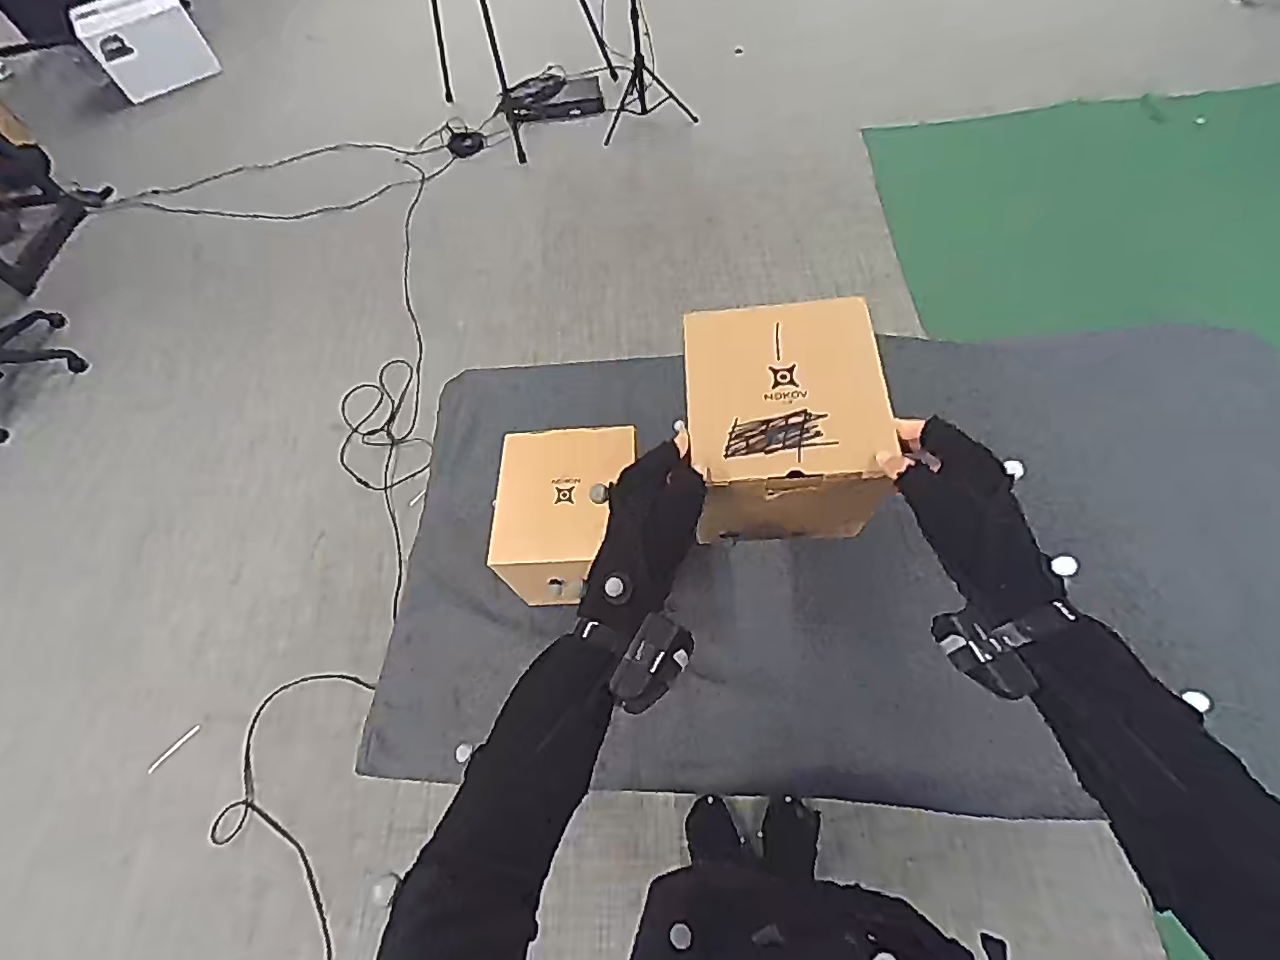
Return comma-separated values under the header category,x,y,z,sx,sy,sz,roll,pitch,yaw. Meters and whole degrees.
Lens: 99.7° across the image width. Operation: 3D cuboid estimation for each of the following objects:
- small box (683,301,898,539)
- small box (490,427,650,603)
category,x,y,z,sx,sy,sz,roll,pitch,yaw
small box,0.132,-0.045,0.533,0.168,0.176,0.179,-4,66,7
small box,-0.076,0.054,0.693,0.168,0.176,0.179,-3,60,5
